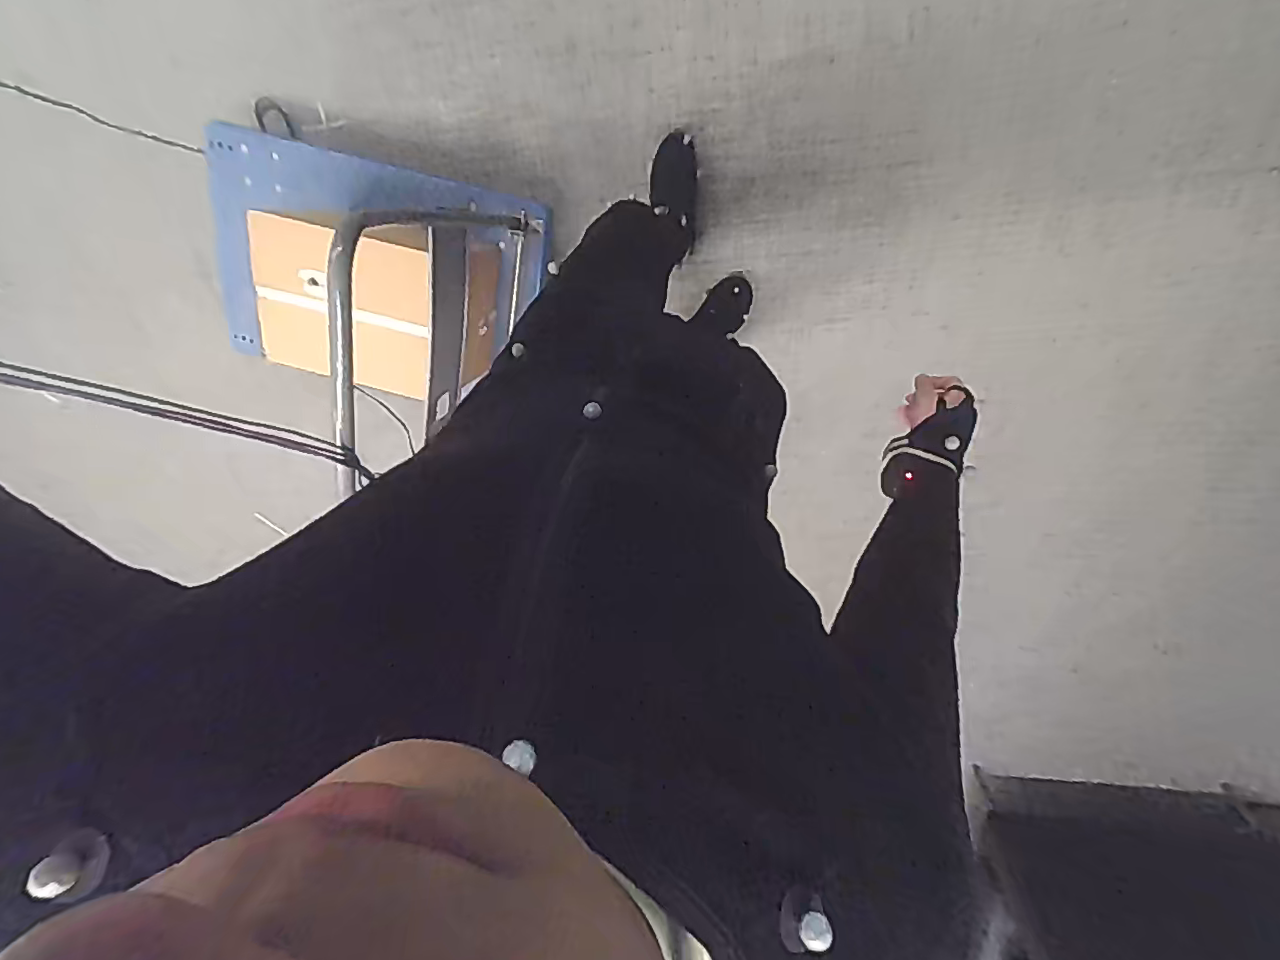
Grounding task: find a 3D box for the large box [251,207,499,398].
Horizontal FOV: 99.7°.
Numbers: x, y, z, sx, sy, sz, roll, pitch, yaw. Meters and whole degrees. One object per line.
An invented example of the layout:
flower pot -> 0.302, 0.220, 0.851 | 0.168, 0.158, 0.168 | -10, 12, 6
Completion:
large box -> -0.578, -0.423, 1.251 | 0.408, 0.320, 0.320 | 15, 117, 3
